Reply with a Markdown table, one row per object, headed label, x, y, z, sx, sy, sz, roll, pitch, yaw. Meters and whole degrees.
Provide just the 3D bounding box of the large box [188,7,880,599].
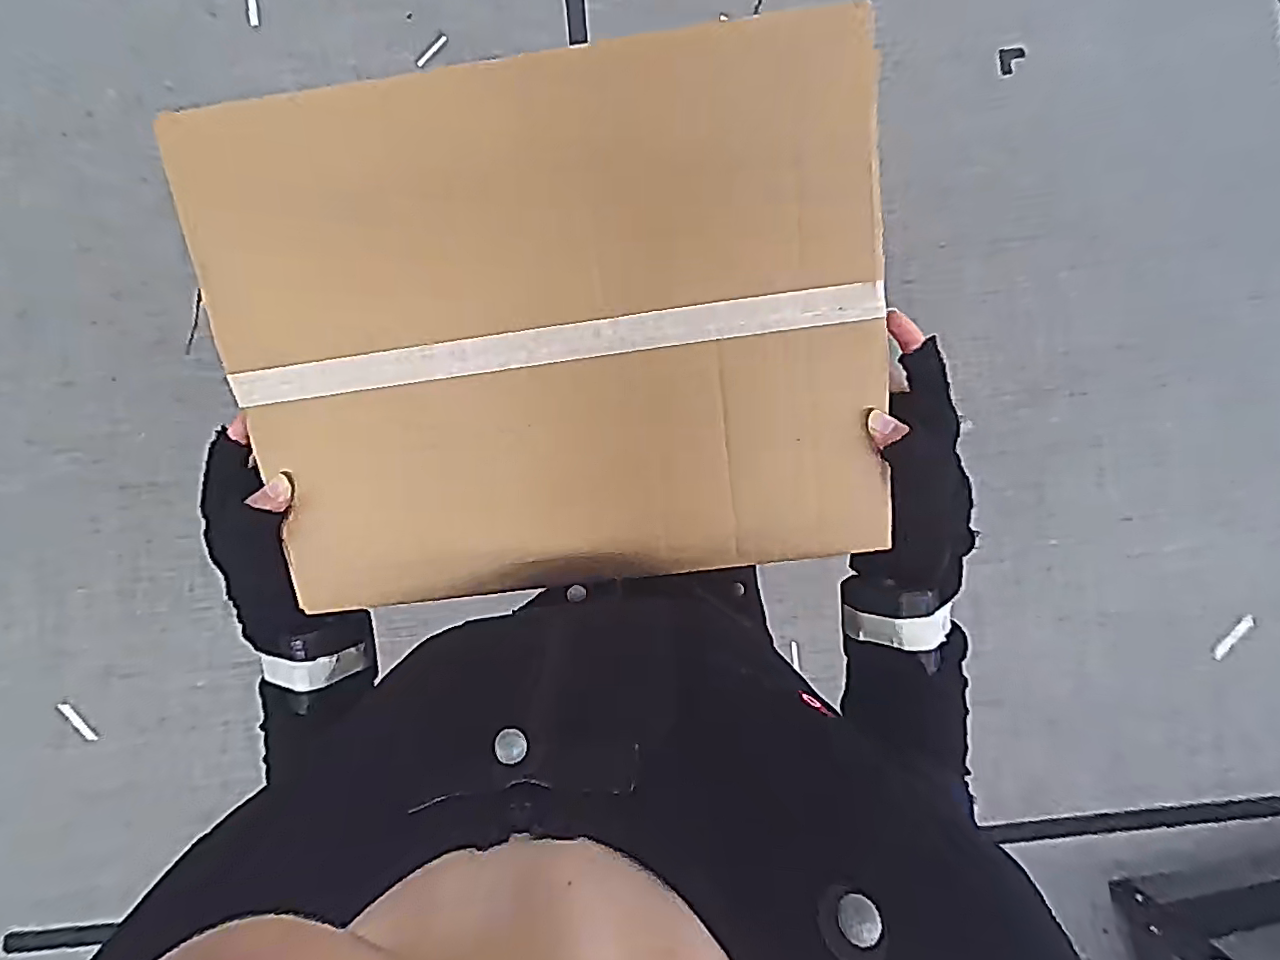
| label | x | y | z | sx | sy | sz | roll | pitch | yaw |
| --- | --- | --- | --- | --- | --- | --- | --- | --- | --- |
| large box | -0.053 | -0.120 | 0.488 | 0.408 | 0.320 | 0.320 | -7 | 103 | 3 |
